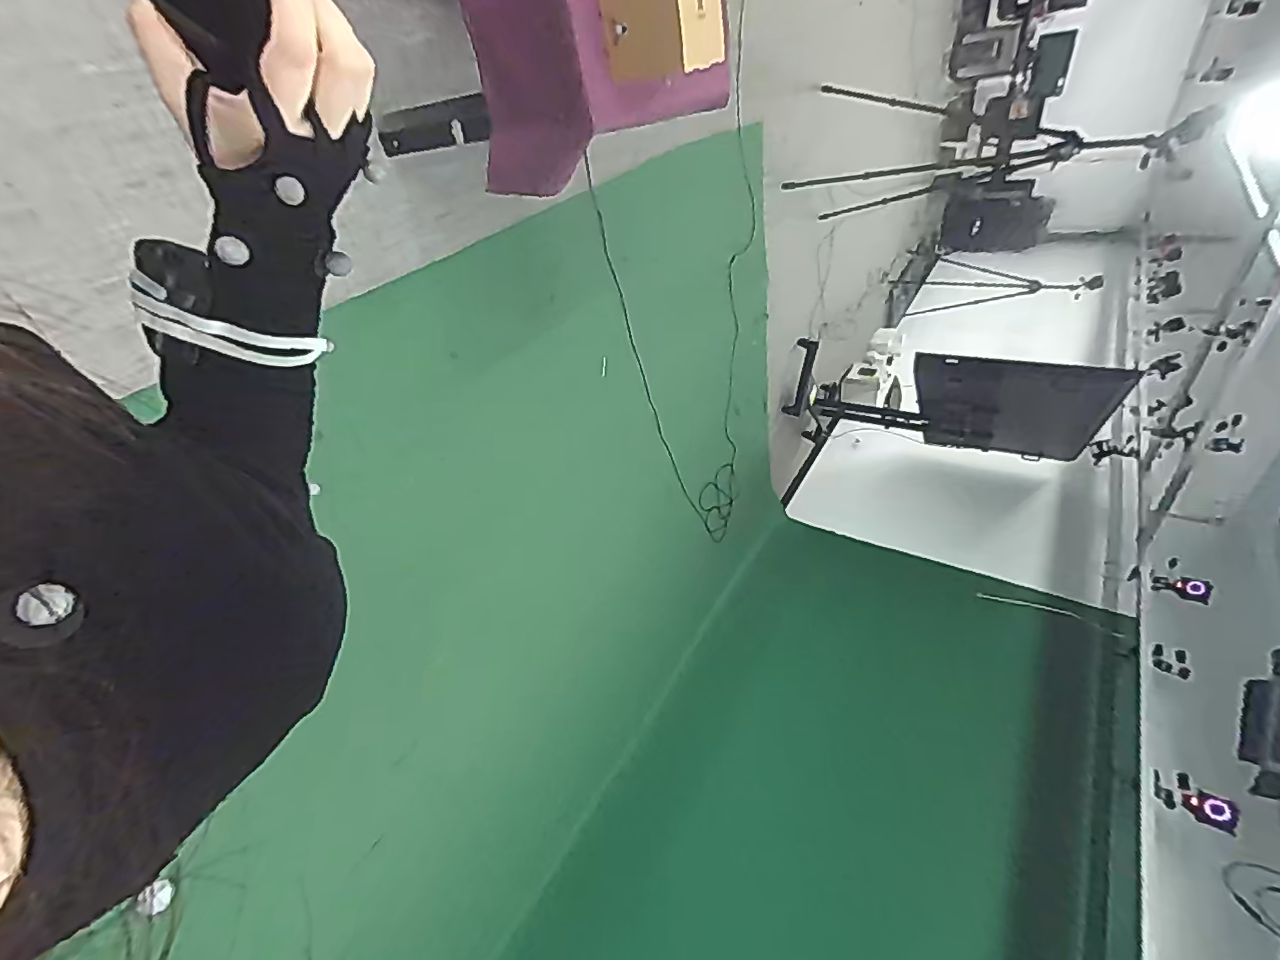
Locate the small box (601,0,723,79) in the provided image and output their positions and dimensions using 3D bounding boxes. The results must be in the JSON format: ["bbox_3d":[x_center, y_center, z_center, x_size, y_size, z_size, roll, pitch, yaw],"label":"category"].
[{"bbox_3d":[0.042,-0.889,1.034,0.168,0.176,0.179,-48,140,-36],"label":"small box"}]
